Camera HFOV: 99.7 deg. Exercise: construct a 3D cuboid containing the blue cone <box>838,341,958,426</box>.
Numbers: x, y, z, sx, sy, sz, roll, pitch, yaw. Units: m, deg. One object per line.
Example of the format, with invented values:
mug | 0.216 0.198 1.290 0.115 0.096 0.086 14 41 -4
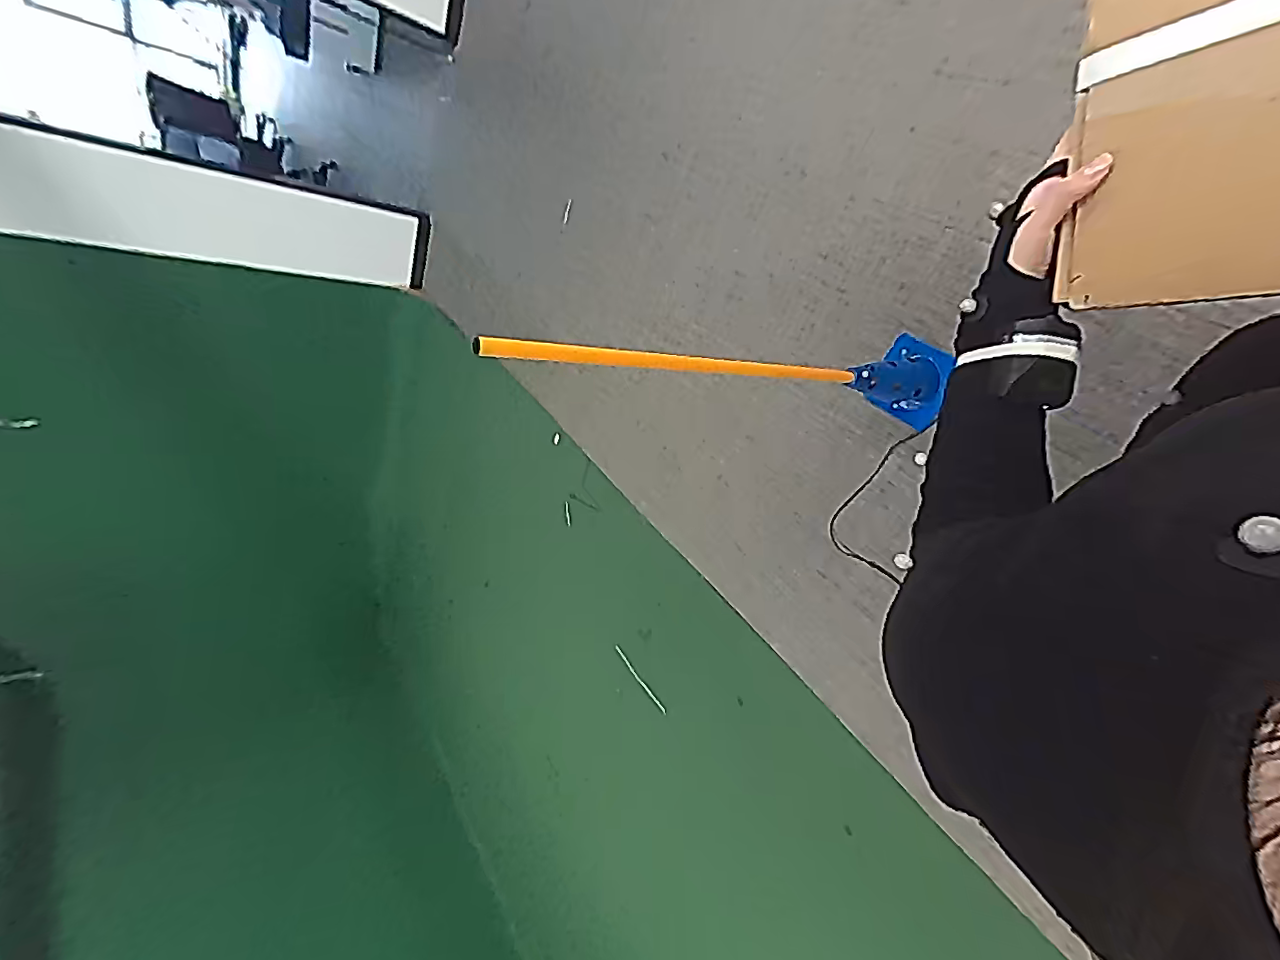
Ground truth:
blue cone | 0.588 -0.241 1.317 0.193 0.380 0.192 43 124 36
